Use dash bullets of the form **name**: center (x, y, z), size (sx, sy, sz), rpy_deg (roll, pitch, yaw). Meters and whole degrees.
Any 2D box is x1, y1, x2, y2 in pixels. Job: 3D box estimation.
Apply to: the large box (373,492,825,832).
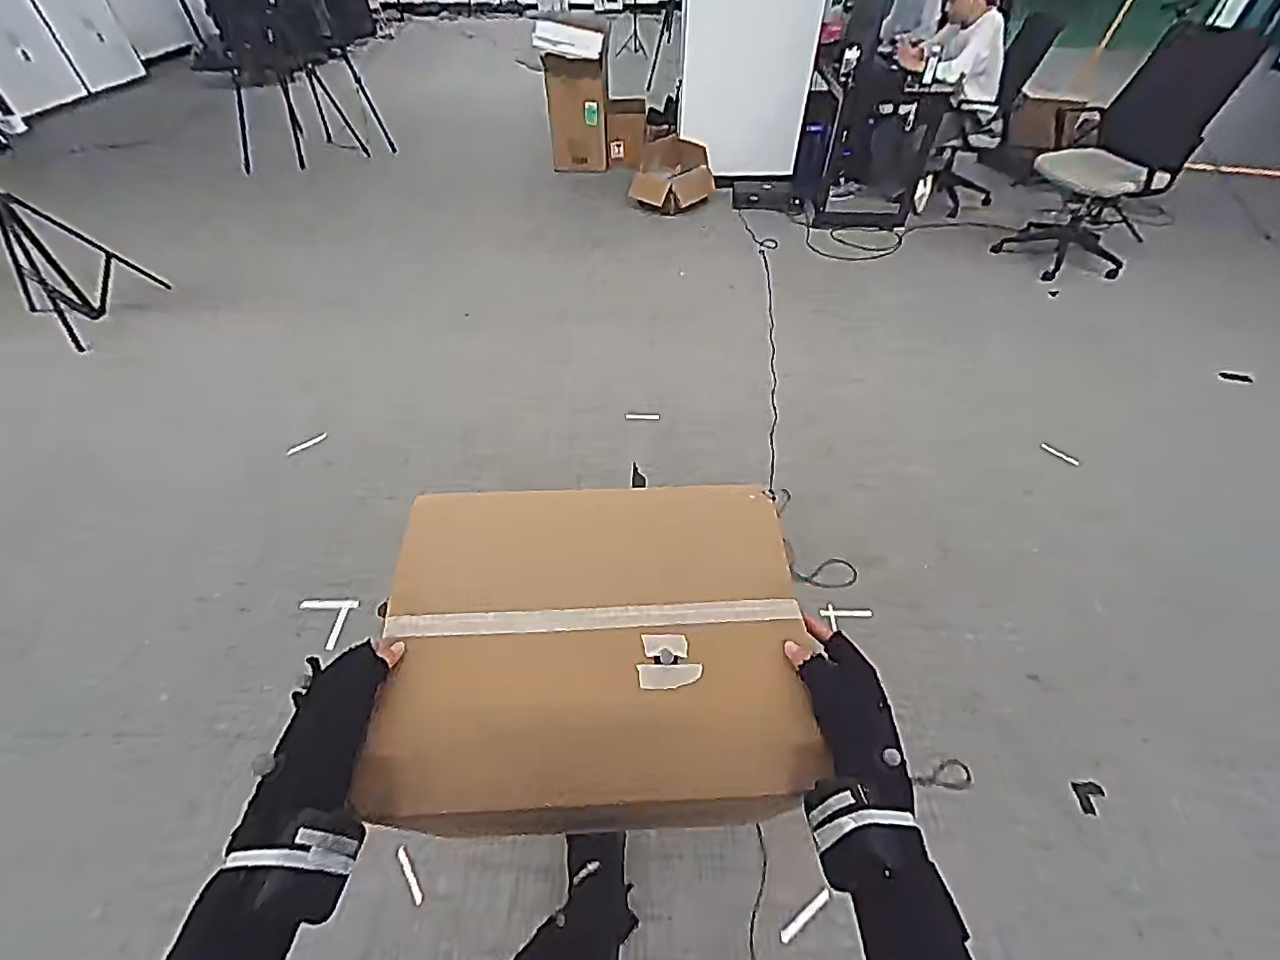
- **large box**: center (-0.046, 0.232, 0.675), size (0.408, 0.320, 0.320), rpy_deg (-1, 54, -3)
